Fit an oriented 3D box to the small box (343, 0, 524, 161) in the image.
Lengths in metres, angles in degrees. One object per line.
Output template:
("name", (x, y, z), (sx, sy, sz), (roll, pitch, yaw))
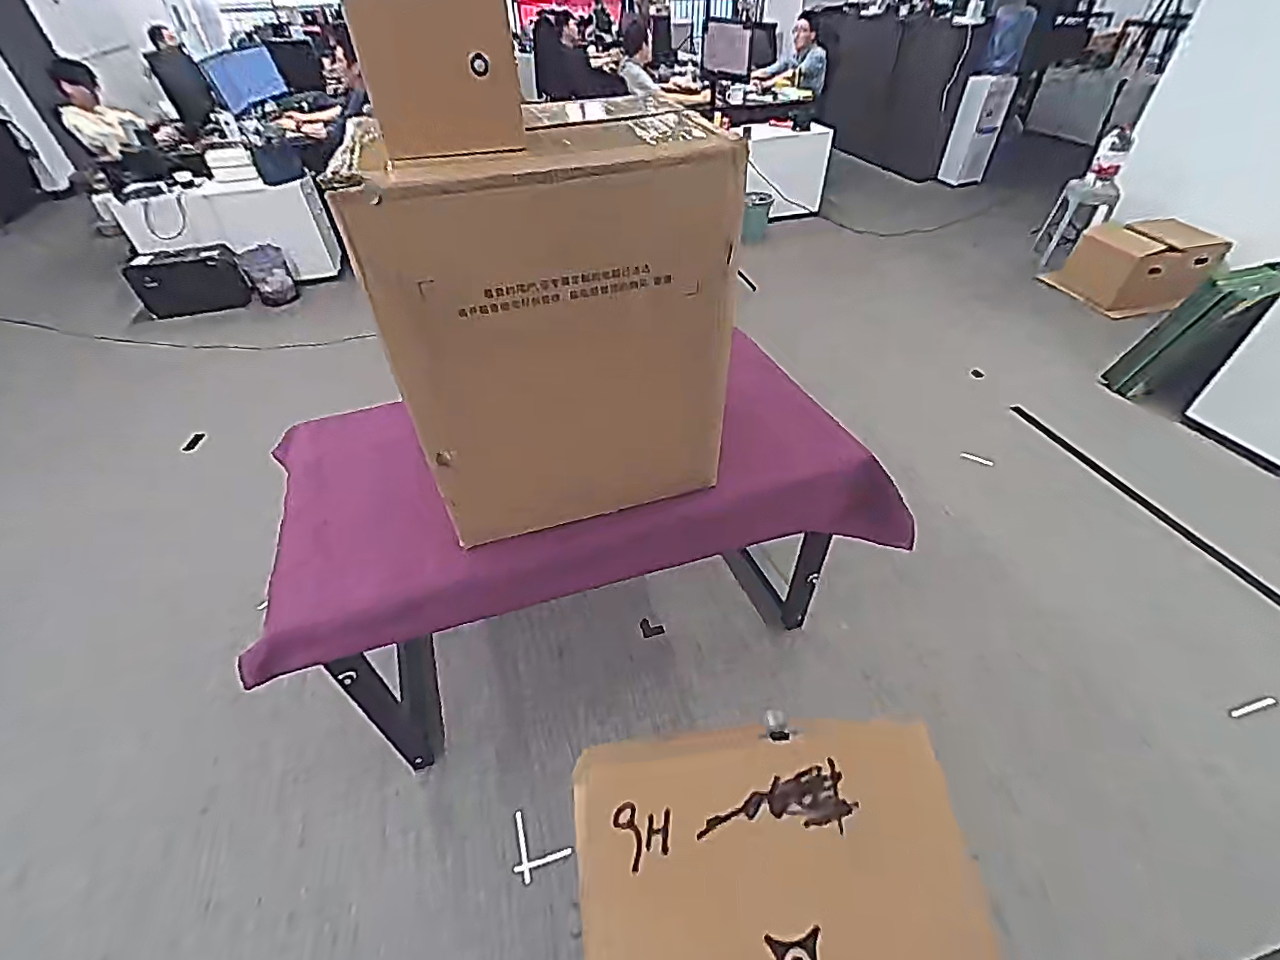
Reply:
("small box", (-0.250, -0.521, 0.681), (0.179, 0.176, 0.168), (-14, 44, -12))
